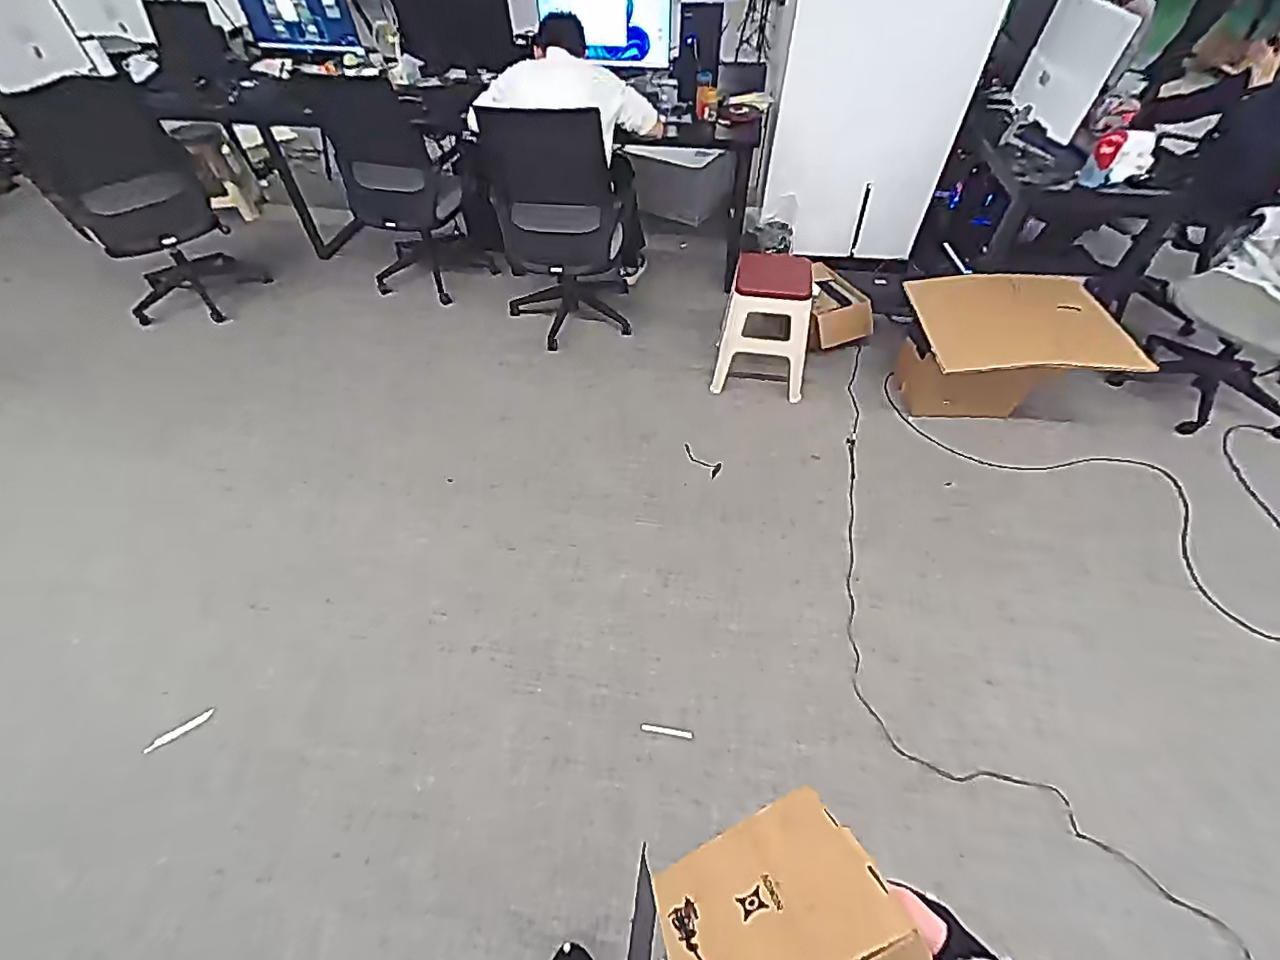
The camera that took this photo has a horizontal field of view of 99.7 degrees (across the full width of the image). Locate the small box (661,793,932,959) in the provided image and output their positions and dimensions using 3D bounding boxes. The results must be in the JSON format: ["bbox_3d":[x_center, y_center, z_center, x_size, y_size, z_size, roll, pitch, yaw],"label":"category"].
[{"bbox_3d":[0.140,0.422,0.457,0.179,0.168,0.176,-25,94,-7],"label":"small box"}]
